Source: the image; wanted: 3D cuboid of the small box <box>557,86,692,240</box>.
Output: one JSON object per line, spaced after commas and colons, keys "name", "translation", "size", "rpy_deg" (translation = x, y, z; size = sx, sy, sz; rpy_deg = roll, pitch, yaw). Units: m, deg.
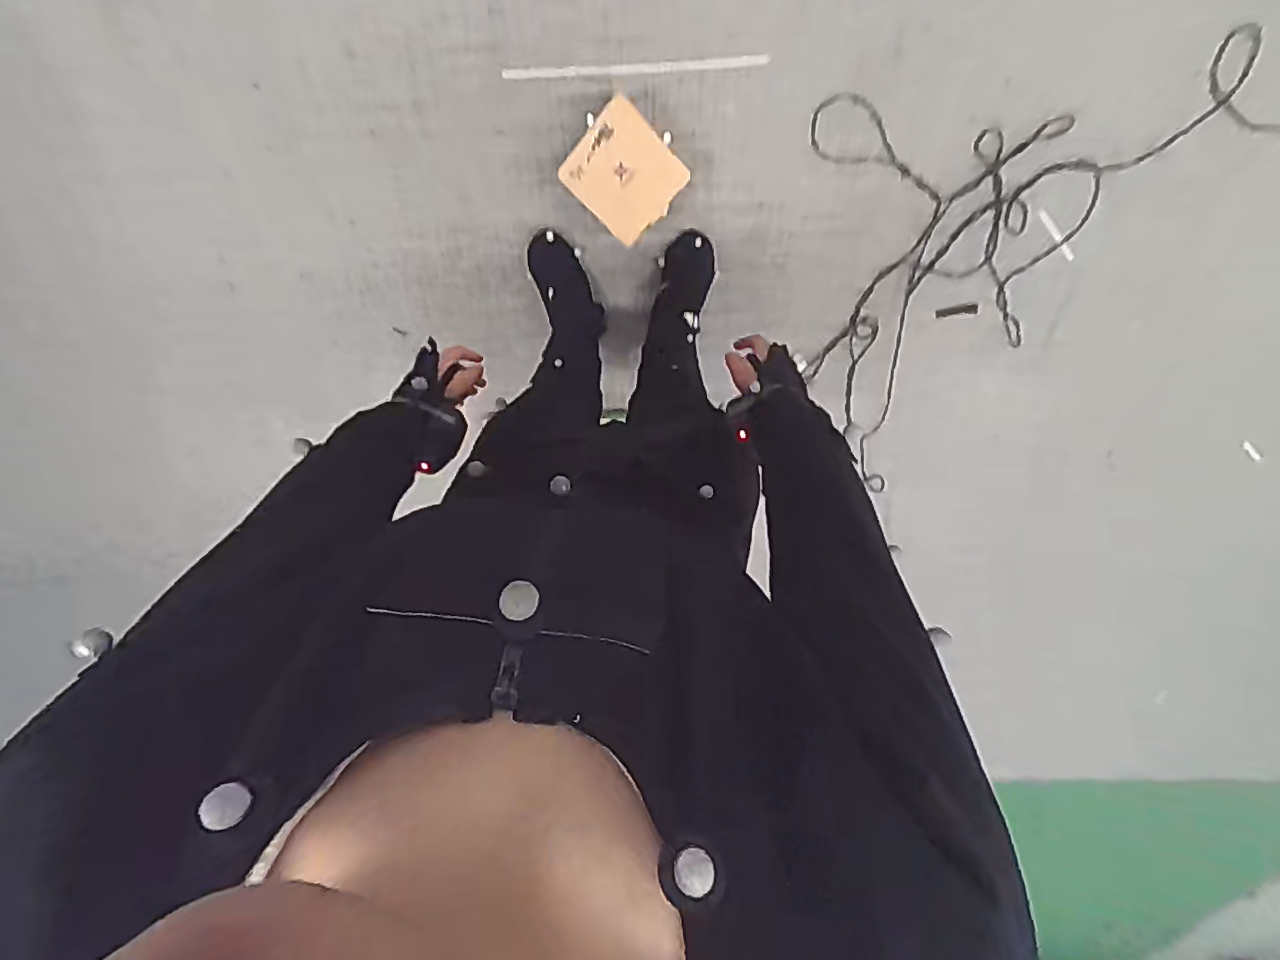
{"name": "small box", "translation": [-0.024, -0.579, 0.985], "size": [0.179, 0.176, 0.168], "rpy_deg": [39, 118, -23]}
